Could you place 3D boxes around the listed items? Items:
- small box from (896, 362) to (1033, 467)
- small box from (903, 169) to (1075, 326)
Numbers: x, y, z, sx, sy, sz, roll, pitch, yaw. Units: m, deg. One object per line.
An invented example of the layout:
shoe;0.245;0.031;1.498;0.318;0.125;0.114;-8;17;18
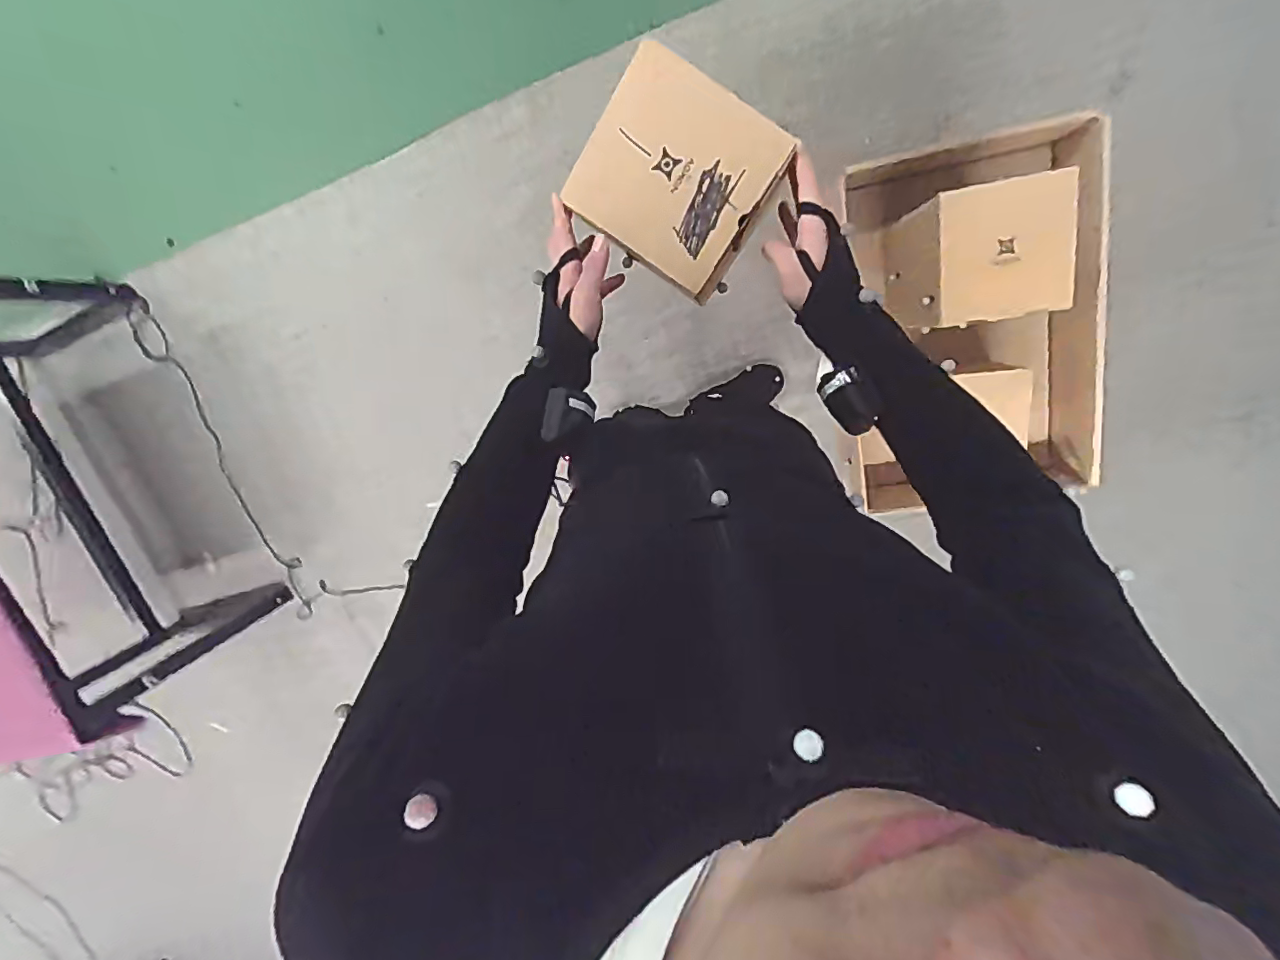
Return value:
small box;0.591;-0.126;1.011;0.179;0.176;0.168;-3;107;12
small box;0.497;-0.328;0.796;0.168;0.176;0.179;-6;107;12
